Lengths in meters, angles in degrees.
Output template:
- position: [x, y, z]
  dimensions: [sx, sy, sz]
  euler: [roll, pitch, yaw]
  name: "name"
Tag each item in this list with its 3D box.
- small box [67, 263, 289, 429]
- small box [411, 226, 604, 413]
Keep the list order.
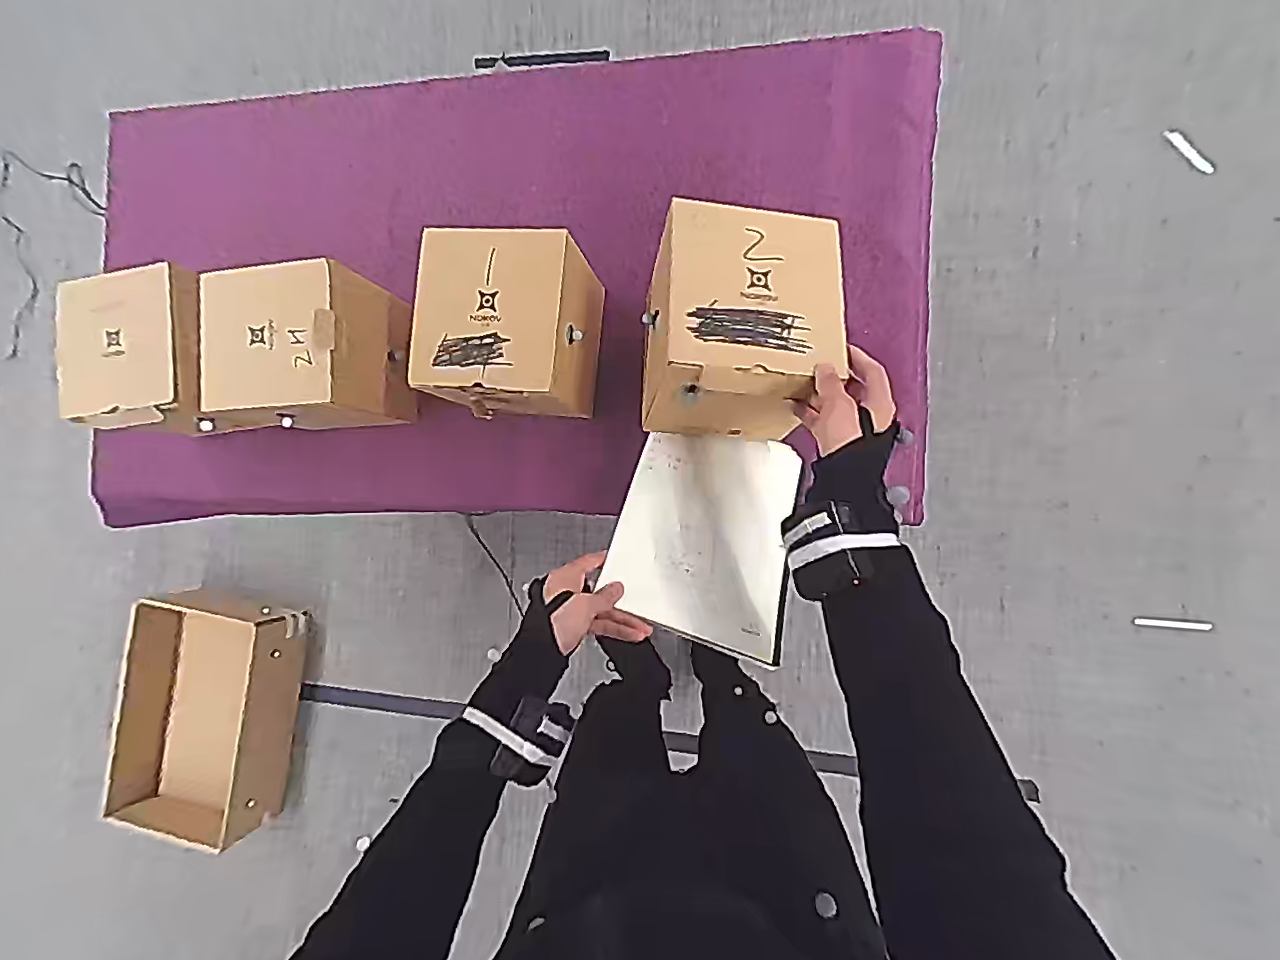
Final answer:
- position: [-0.612, -0.166, 0.735]
  dimensions: [0.168, 0.176, 0.179]
  euler: [-6, 87, 9]
  name: "small box"
- position: [-0.146, -0.180, 0.652]
  dimensions: [0.168, 0.176, 0.179]
  euler: [5, 88, 10]
  name: "small box"
